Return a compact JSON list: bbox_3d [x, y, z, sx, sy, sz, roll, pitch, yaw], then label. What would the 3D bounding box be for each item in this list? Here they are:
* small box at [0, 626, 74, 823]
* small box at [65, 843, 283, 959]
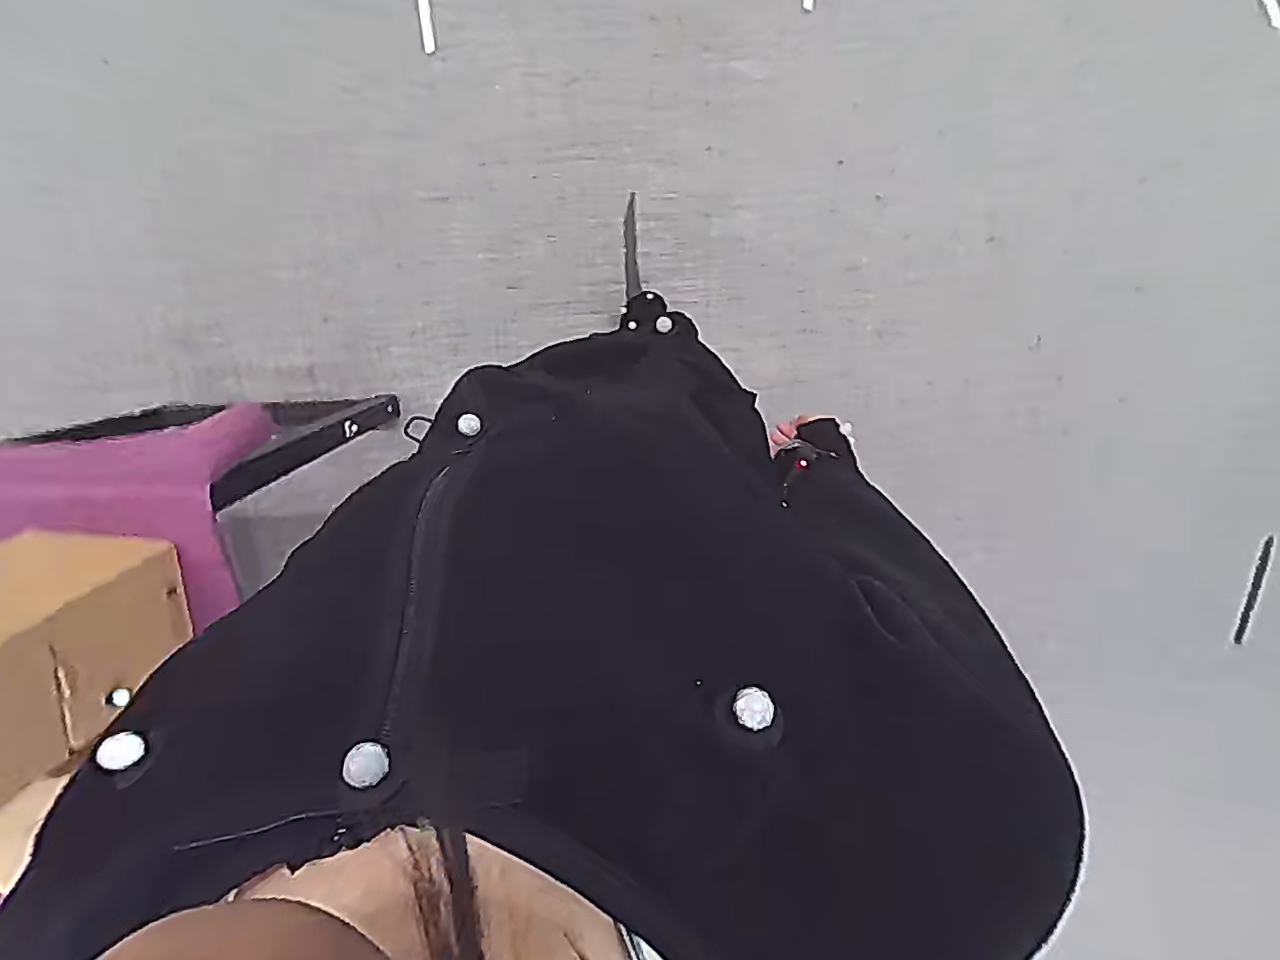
[{"bbox_3d":[-0.661,0.231,0.466,0.168,0.176,0.179,9,109,-3],"label":"small box"},{"bbox_3d":[-0.658,0.662,0.783,0.179,0.176,0.168,-5,108,-1],"label":"small box"}]
